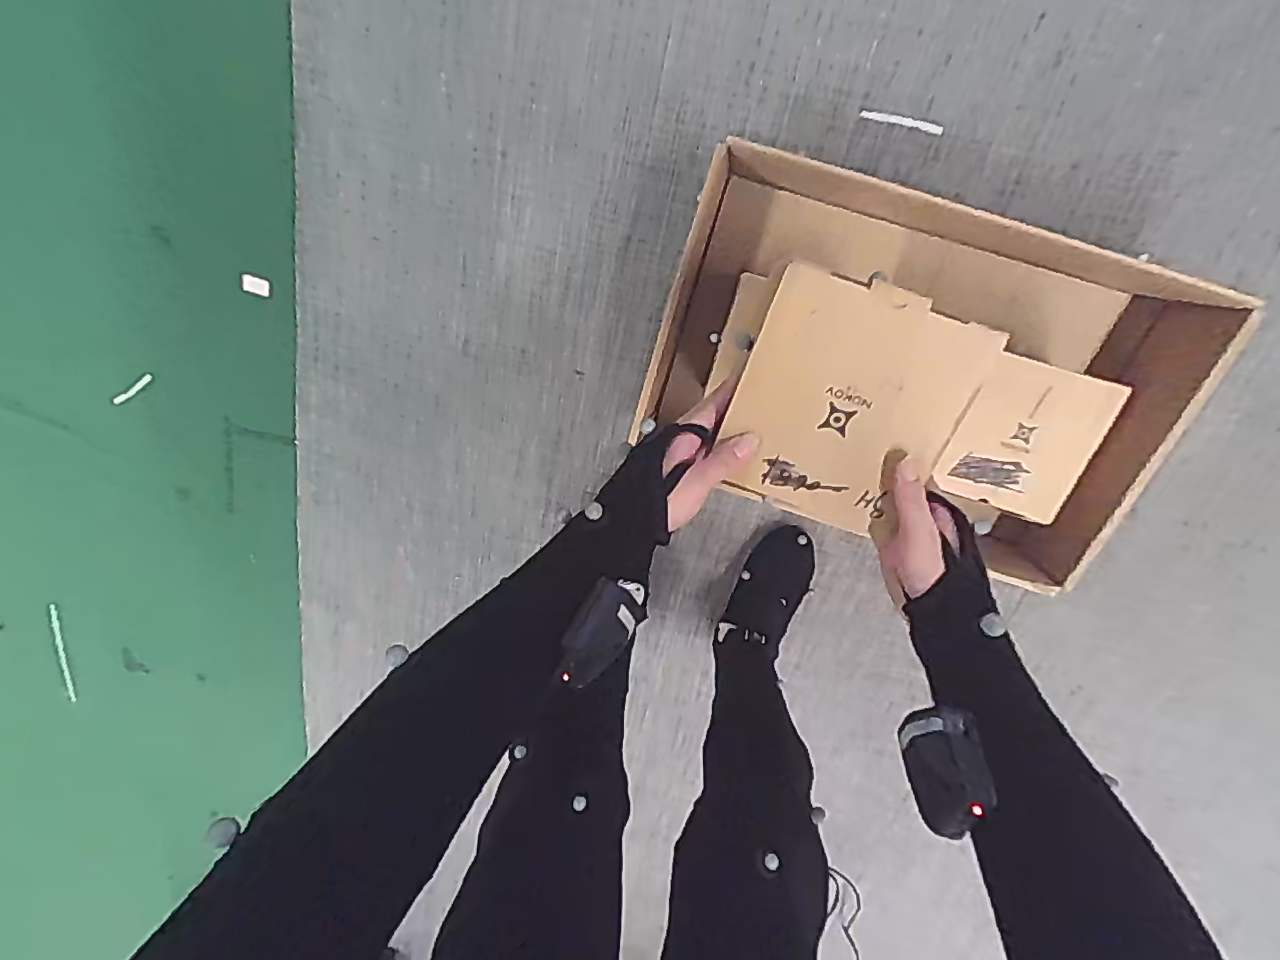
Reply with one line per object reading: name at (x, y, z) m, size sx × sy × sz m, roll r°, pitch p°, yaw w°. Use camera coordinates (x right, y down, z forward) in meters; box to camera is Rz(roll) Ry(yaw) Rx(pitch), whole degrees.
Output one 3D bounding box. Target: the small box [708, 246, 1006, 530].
small box at (0.167, -0.088, 0.484) m, size 0.168 × 0.176 × 0.179 m, roll 20°, pitch 111°, yaw 2°
